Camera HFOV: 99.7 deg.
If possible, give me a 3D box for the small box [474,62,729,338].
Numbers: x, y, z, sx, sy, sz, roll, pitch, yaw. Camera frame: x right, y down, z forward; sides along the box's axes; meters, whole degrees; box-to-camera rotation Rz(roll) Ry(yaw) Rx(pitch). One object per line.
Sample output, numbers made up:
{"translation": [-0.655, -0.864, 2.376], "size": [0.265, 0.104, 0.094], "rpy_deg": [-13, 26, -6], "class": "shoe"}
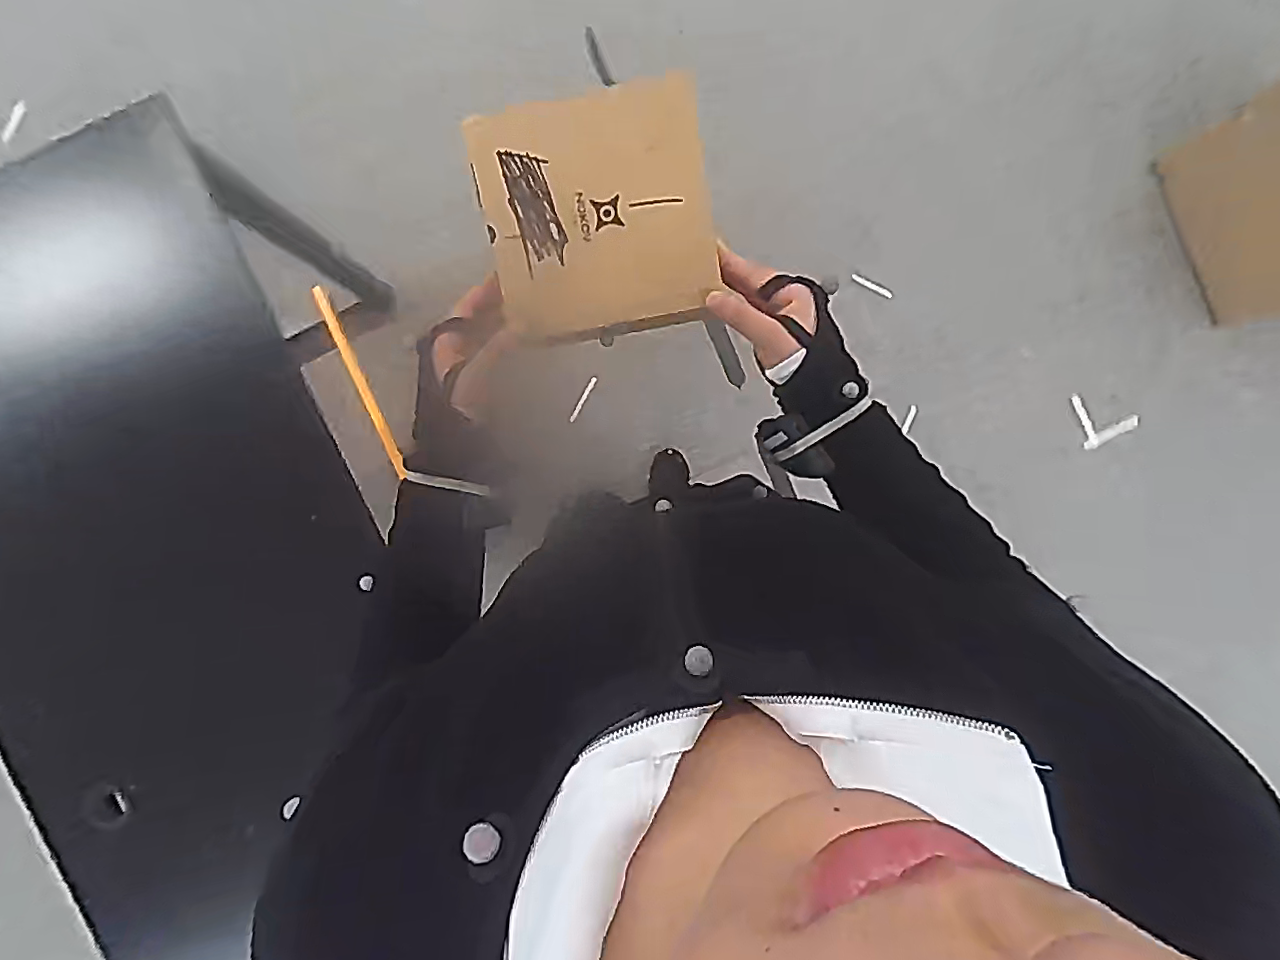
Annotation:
{"translation": [-0.025, -0.227, 0.488], "size": [0.179, 0.176, 0.168], "rpy_deg": [-9, 102, 3], "class": "small box"}
